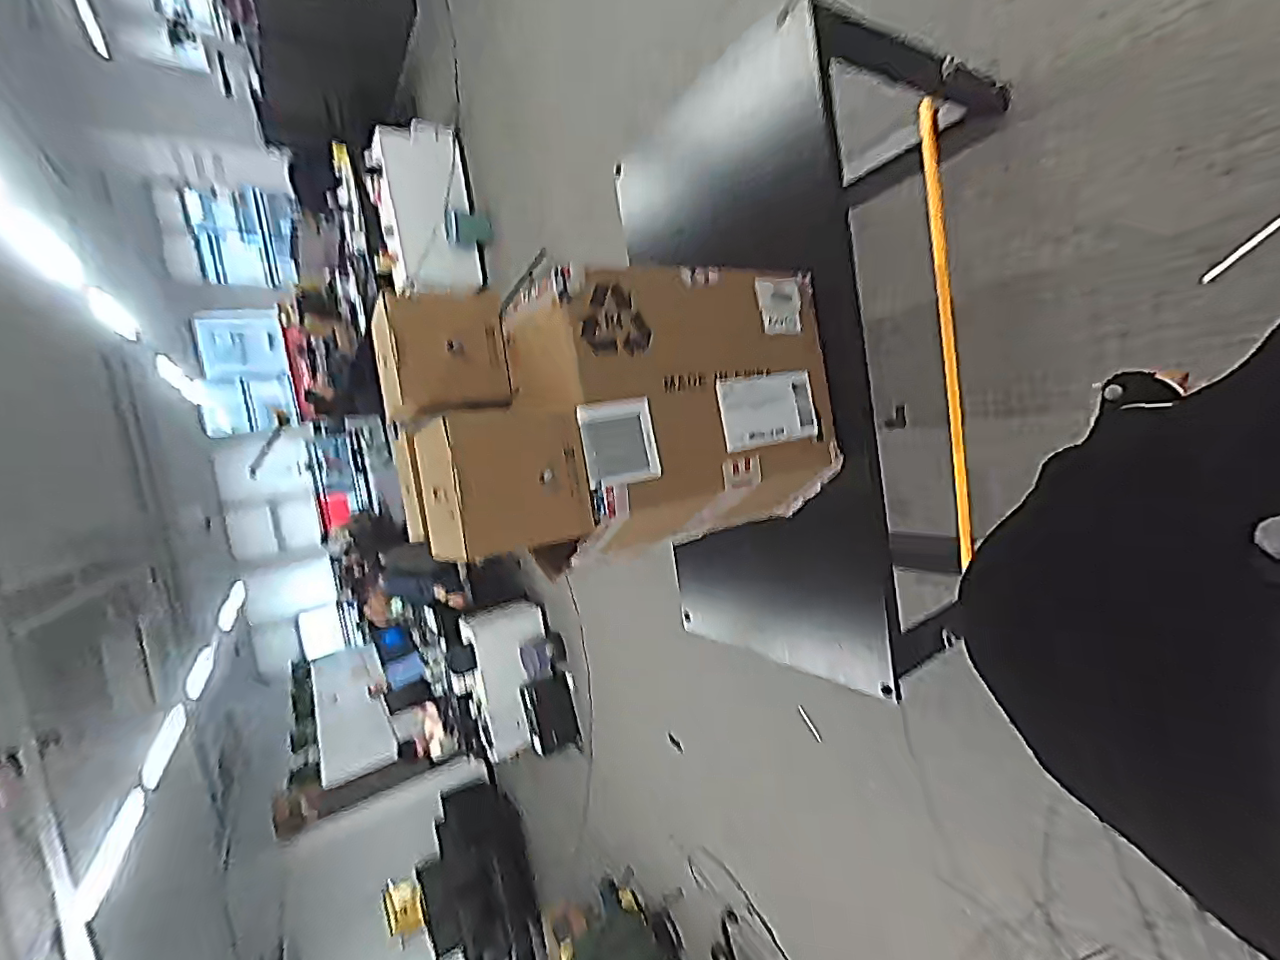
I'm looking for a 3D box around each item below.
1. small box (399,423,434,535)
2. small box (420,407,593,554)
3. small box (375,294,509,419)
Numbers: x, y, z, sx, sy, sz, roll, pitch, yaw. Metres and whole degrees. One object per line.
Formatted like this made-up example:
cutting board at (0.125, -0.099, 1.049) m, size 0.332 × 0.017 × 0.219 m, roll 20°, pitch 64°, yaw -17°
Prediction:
small box at (-0.299, -0.004, 0.920) m, size 0.179 × 0.176 × 0.168 m, roll -15°, pitch 87°, yaw 59°
small box at (-0.182, 0.000, 0.728) m, size 0.179 × 0.176 × 0.168 m, roll -9°, pitch 91°, yaw 57°
small box at (-0.326, -0.201, 0.900) m, size 0.179 × 0.176 × 0.168 m, roll -7°, pitch 92°, yaw 58°
